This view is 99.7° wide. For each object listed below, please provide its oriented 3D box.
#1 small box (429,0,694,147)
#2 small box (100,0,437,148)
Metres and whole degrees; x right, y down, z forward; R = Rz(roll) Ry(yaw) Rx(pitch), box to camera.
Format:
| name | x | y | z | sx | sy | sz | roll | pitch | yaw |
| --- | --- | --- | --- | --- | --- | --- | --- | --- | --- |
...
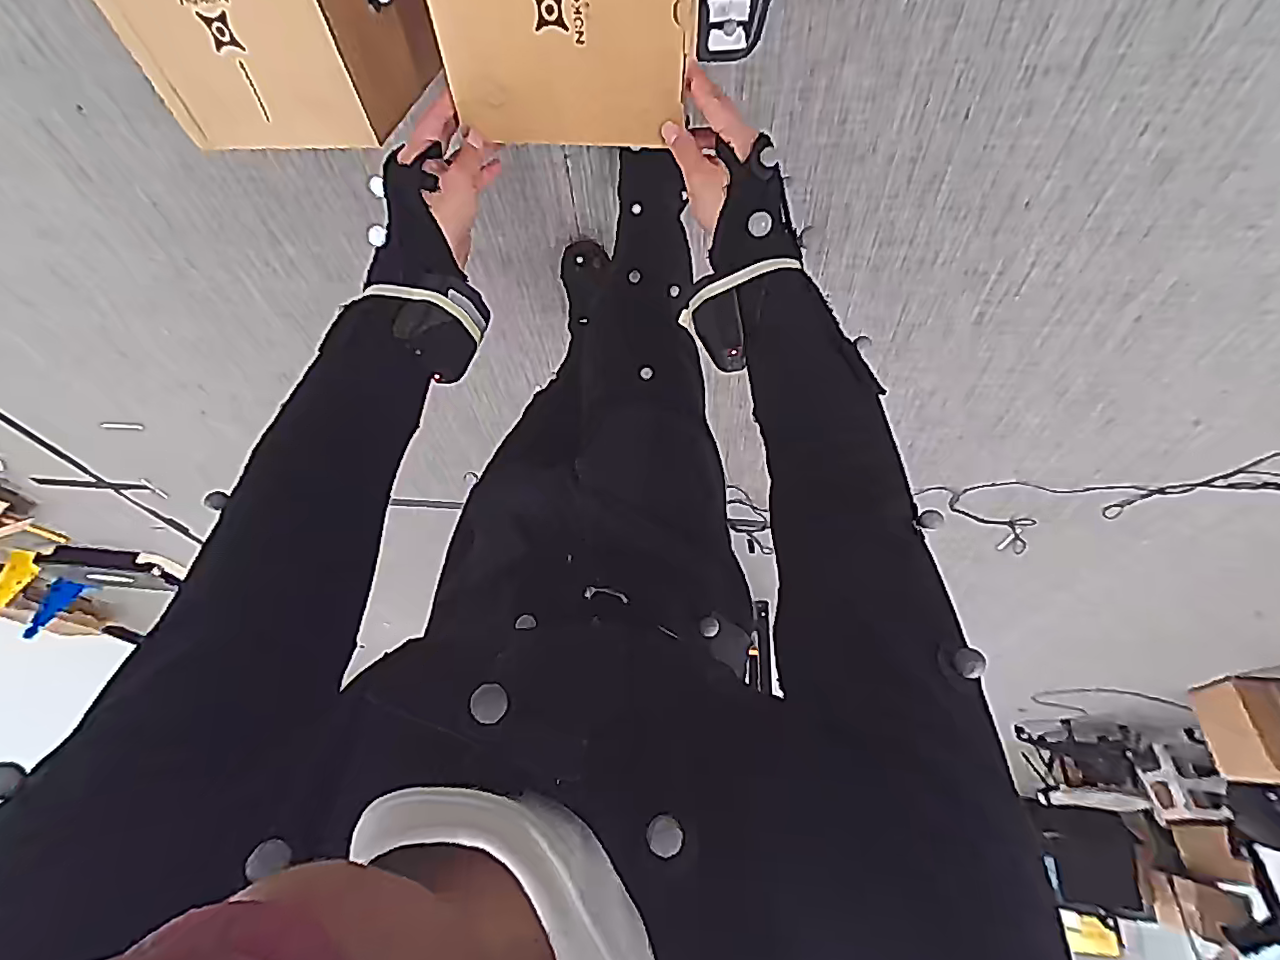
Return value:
| name | x | y | z | sx | sy | sz | roll | pitch | yaw |
| --- | --- | --- | --- | --- | --- | --- | --- | --- | --- |
| small box | -0.048 | -0.377 | 0.403 | 0.179 | 0.176 | 0.168 | 3 | 145 | 3 |
| small box | -0.285 | -0.390 | 0.421 | 0.168 | 0.176 | 0.179 | 3 | 145 | 5 |
